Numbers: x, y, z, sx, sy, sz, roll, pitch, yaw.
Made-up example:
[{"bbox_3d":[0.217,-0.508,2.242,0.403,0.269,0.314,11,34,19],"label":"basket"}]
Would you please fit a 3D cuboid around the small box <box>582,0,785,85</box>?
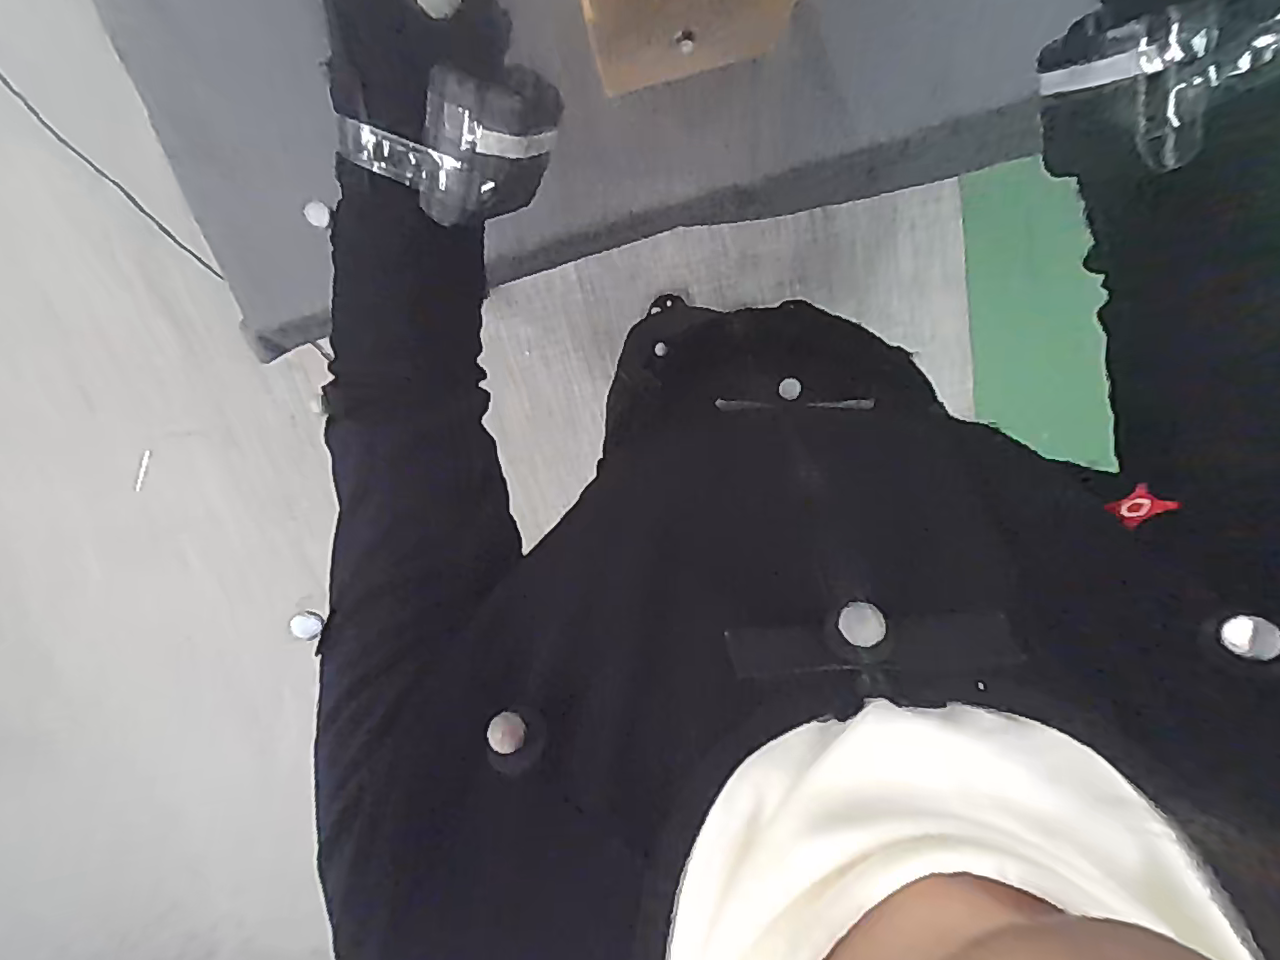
[{"bbox_3d":[0.029,-0.470,0.451,0.179,0.176,0.168,-11,108,7],"label":"small box"}]
